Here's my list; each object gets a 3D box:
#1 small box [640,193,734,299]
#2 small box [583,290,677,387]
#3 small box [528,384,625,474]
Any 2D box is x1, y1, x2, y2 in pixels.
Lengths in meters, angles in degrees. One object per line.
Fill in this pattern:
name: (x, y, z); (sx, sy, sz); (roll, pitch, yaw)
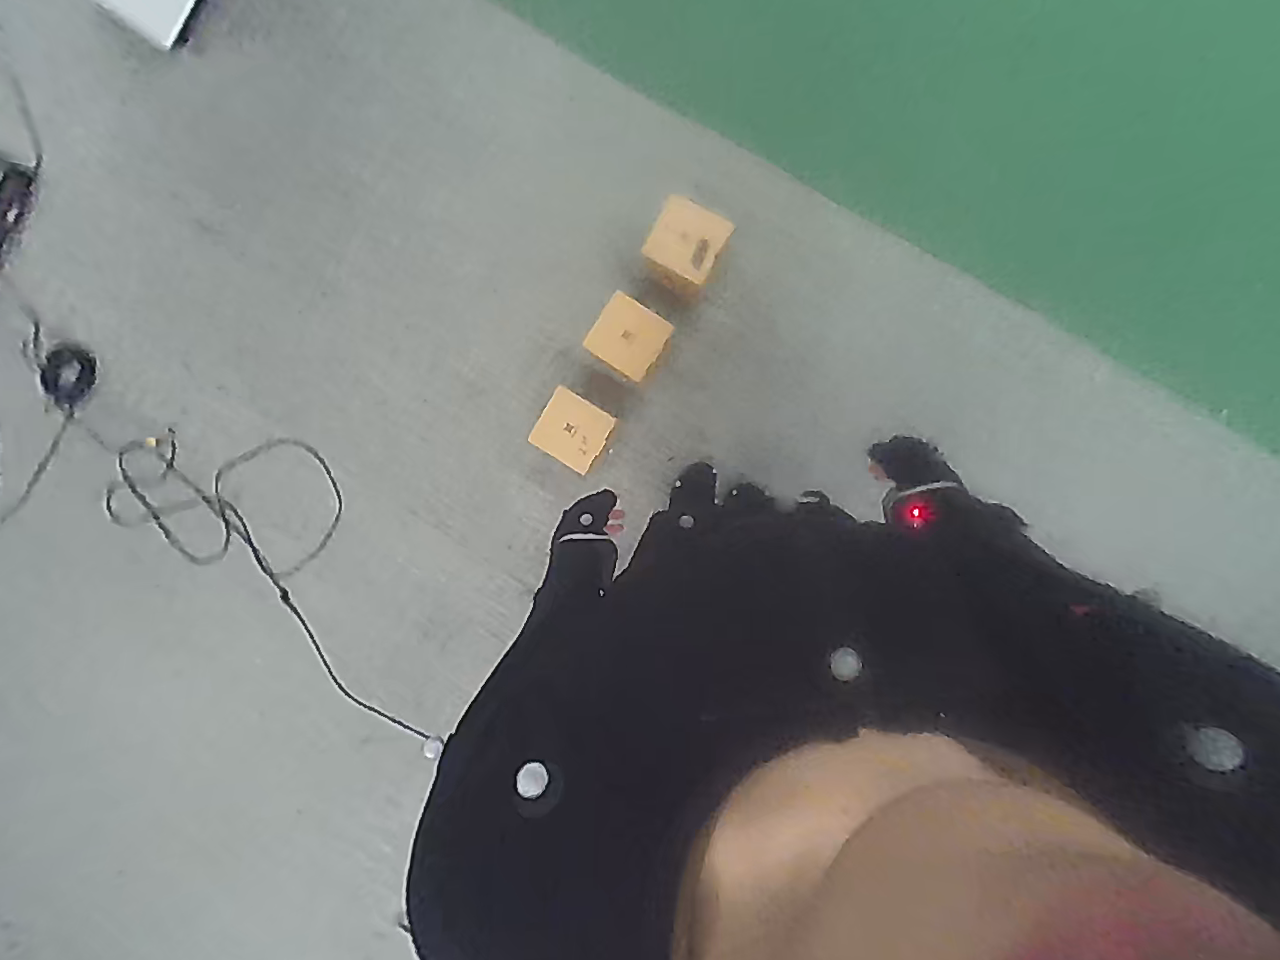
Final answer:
small box: (0.122, -0.584, 1.382); (0.179, 0.176, 0.168); (30, 95, 5)
small box: (-0.020, -0.357, 1.405); (0.179, 0.176, 0.168); (34, 95, 4)
small box: (-0.160, -0.129, 1.425); (0.179, 0.176, 0.168); (32, 96, 4)
